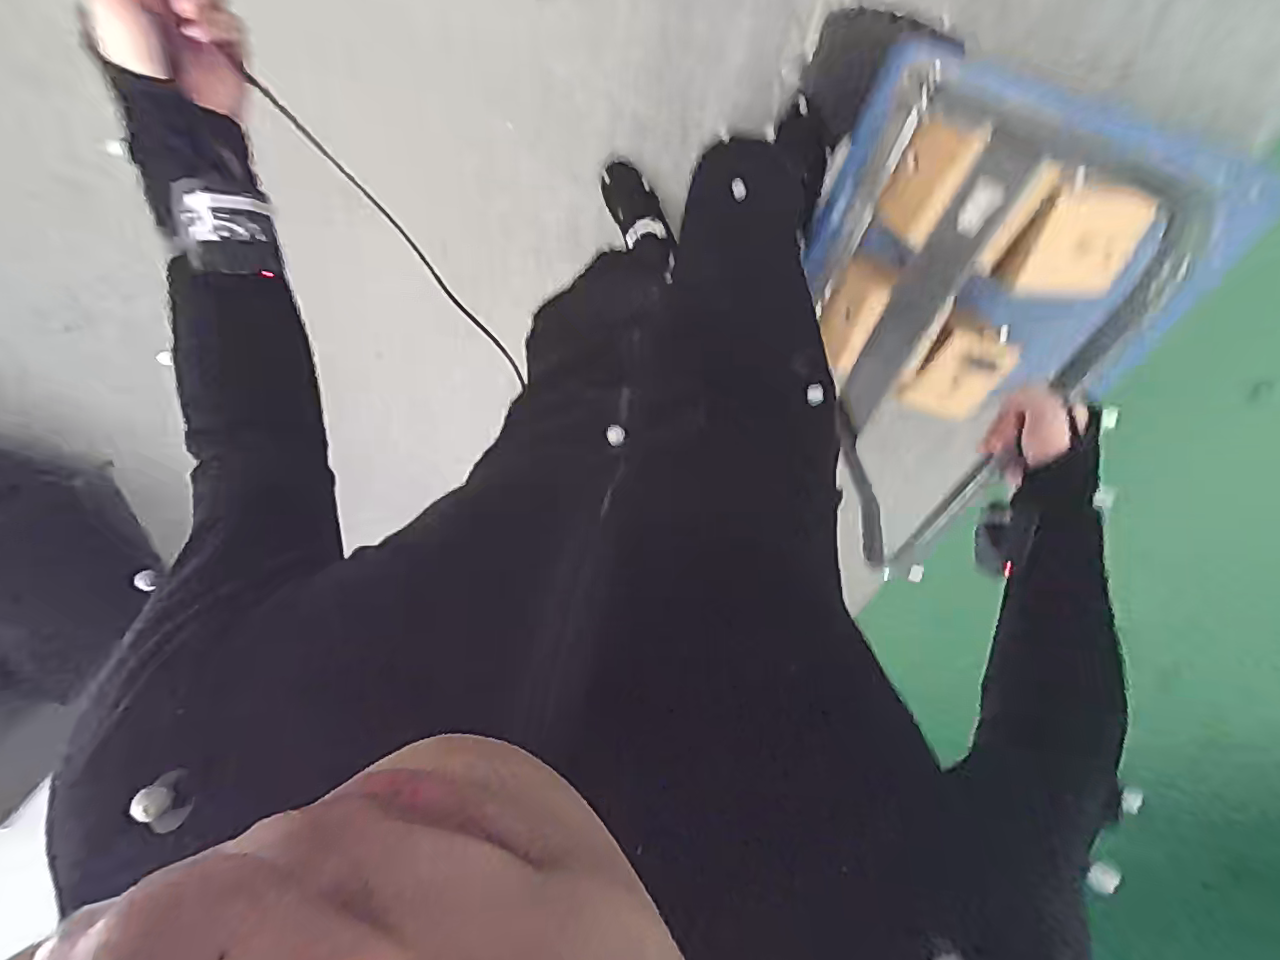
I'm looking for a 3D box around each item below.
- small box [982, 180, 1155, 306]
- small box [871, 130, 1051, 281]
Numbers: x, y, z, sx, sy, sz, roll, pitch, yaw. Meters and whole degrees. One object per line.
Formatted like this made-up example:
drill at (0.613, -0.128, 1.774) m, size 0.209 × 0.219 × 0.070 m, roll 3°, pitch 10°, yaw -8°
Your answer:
small box at (0.749, -0.435, 0.988) m, size 0.179 × 0.176 × 0.168 m, roll 1°, pitch 133°, yaw -3°
small box at (0.544, -0.480, 0.942) m, size 0.179 × 0.176 × 0.168 m, roll 13°, pitch 131°, yaw -13°
